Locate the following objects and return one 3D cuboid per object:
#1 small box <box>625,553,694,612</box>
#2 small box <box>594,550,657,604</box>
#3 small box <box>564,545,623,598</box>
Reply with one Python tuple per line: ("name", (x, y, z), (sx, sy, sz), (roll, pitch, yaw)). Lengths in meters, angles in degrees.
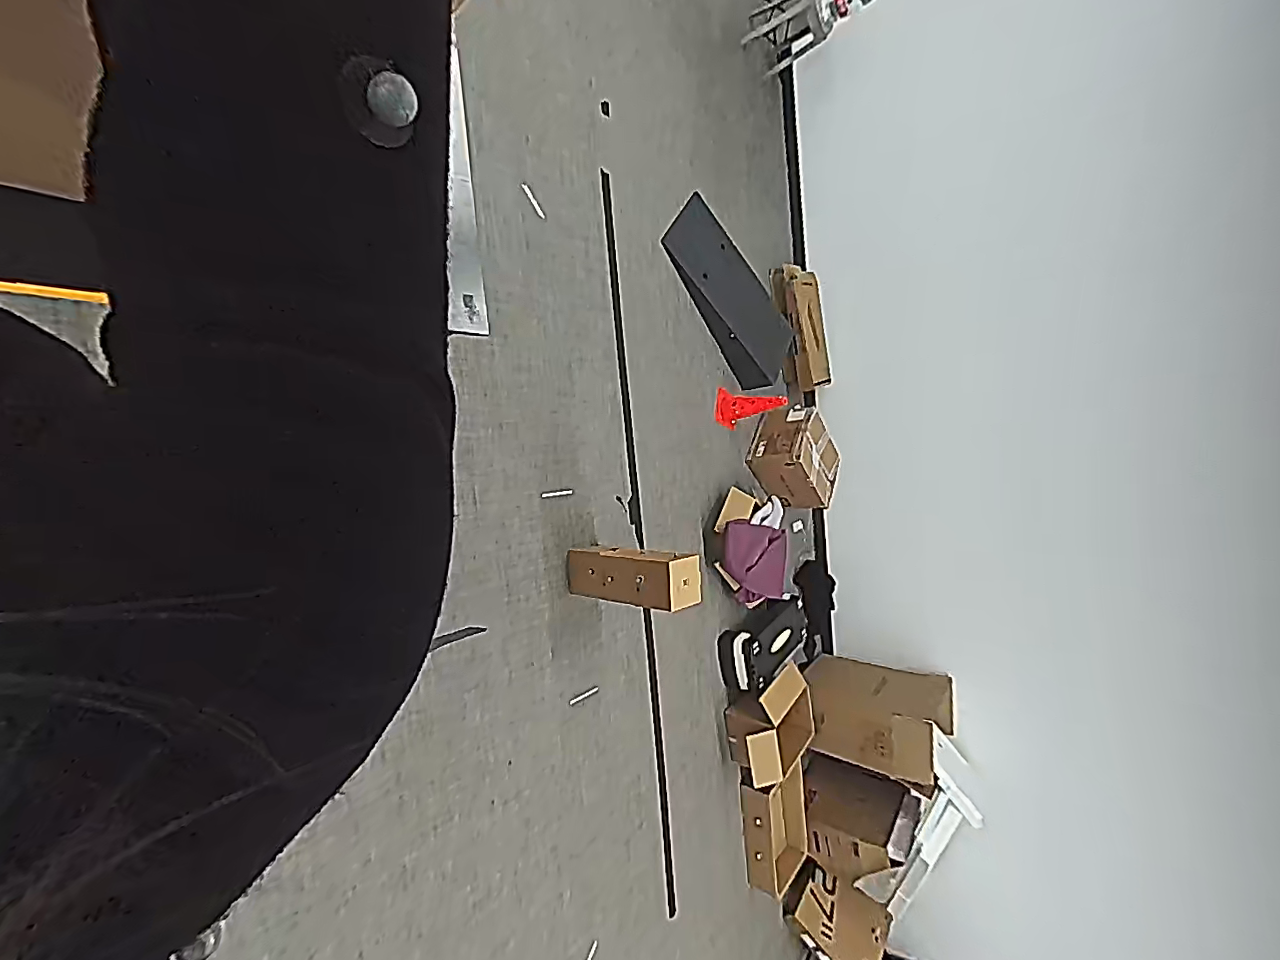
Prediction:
("small box", (0.068, 0.346, 1.862), (0.179, 0.176, 0.168), (-3, 90, -49))
("small box", (-0.048, 0.349, 1.976), (0.179, 0.176, 0.168), (-3, 90, -50))
("small box", (-0.178, 0.347, 2.077), (0.168, 0.176, 0.179), (-2, 91, -50))
